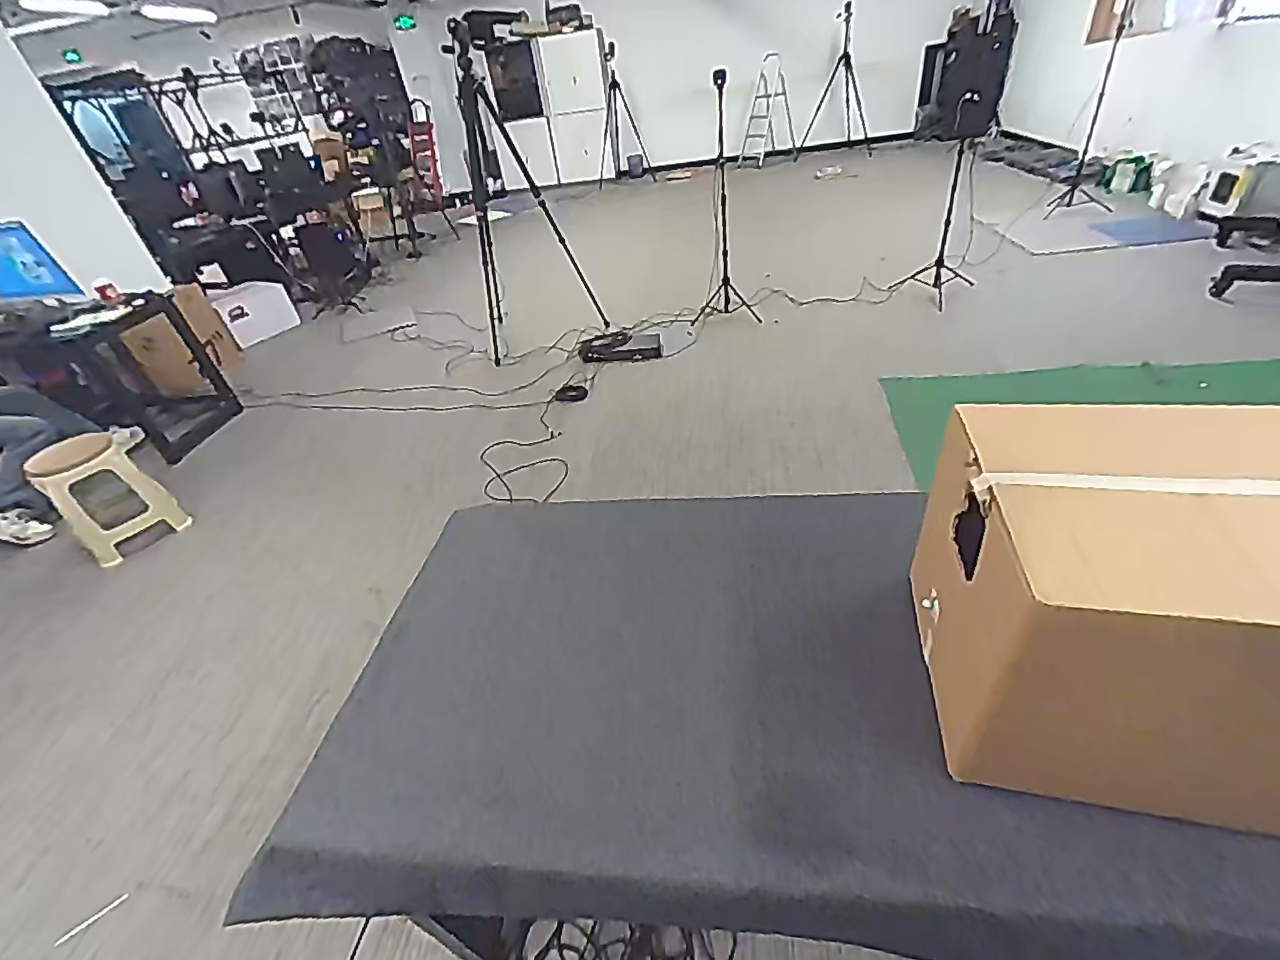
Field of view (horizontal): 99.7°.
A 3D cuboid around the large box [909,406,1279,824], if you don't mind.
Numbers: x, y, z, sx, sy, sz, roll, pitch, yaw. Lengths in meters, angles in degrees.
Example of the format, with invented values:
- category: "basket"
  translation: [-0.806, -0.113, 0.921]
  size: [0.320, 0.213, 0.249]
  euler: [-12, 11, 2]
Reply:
- category: "large box"
  translation: [0.556, 0.128, 0.585]
  size: [0.408, 0.320, 0.320]
  euler: [3, 39, 14]
